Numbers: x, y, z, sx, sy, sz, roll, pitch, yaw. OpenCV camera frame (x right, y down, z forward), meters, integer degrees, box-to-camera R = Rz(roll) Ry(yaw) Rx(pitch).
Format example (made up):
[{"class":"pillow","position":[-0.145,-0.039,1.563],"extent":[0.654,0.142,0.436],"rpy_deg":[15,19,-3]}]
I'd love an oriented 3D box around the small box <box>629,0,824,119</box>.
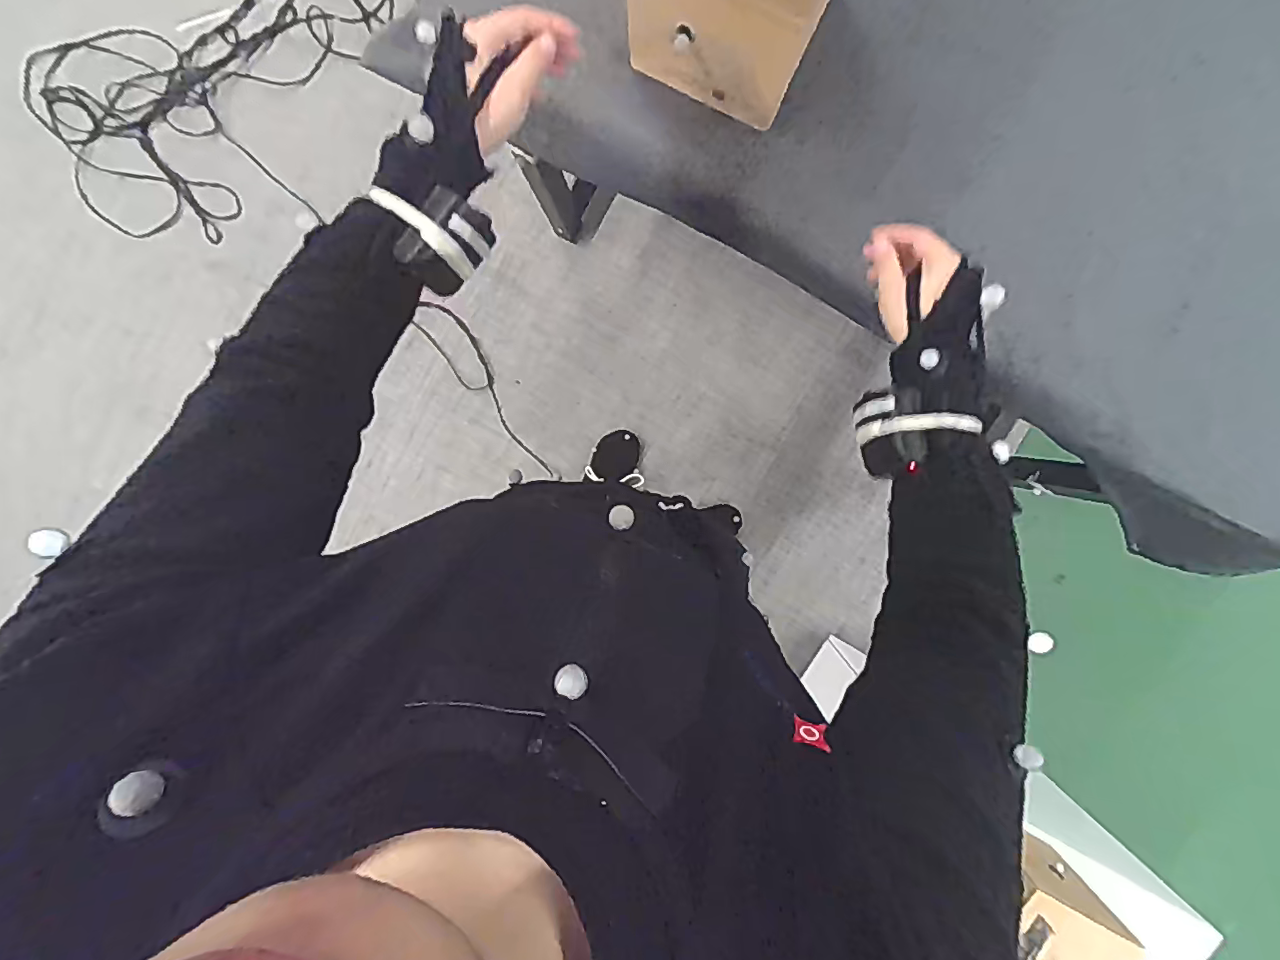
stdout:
[{"class":"small box","position":[0.096,-0.487,0.501],"extent":[0.168,0.176,0.179],"rpy_deg":[25,96,-3]}]
